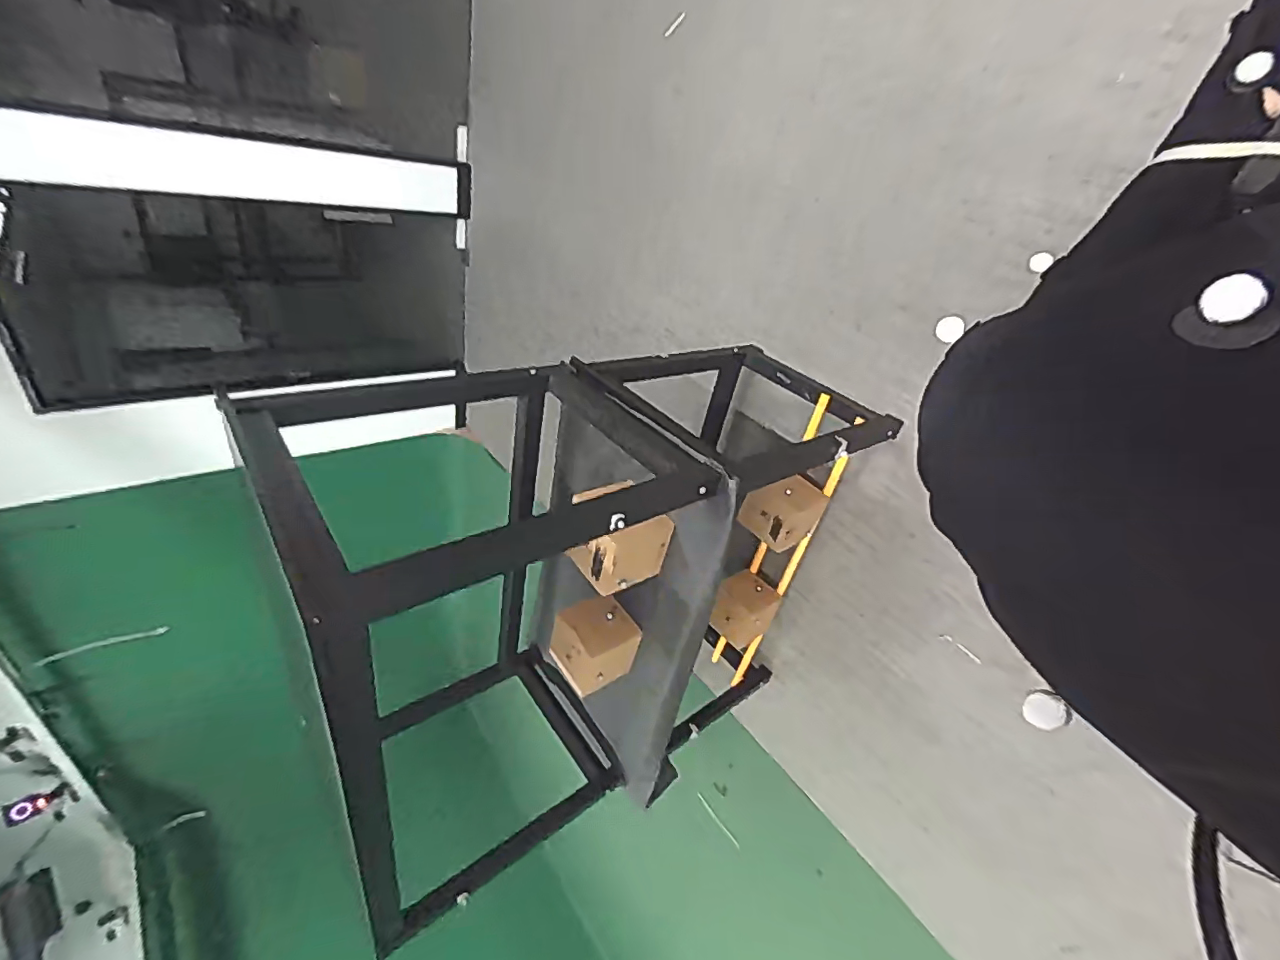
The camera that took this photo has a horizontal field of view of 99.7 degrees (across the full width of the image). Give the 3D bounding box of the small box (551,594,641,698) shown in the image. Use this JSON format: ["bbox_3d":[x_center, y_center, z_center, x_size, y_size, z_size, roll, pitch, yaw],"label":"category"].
[{"bbox_3d":[-0.118,0.441,1.451,0.168,0.176,0.179,43,133,33],"label":"small box"}]

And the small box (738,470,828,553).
[{"bbox_3d":[0.439,0.088,1.648,0.179,0.176,0.168,43,133,33],"label":"small box"}]
